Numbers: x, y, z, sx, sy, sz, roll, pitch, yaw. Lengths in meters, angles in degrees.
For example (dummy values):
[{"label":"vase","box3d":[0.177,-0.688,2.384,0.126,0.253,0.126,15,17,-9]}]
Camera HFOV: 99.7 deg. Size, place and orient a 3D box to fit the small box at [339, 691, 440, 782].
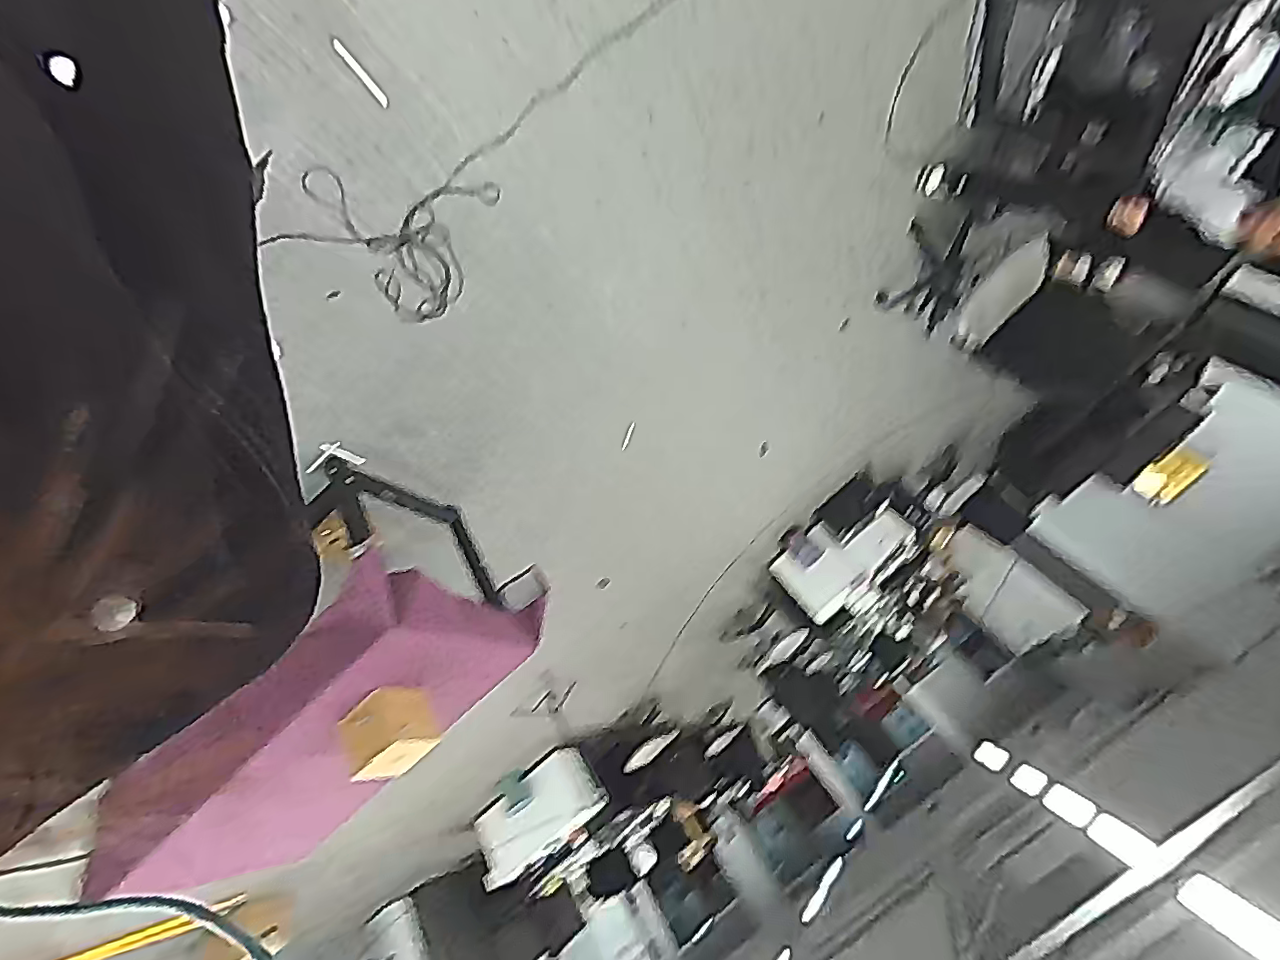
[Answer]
[{"label":"small box","box3d":[-0.708,0.716,1.526,0.168,0.176,0.179,-42,146,5]}]
